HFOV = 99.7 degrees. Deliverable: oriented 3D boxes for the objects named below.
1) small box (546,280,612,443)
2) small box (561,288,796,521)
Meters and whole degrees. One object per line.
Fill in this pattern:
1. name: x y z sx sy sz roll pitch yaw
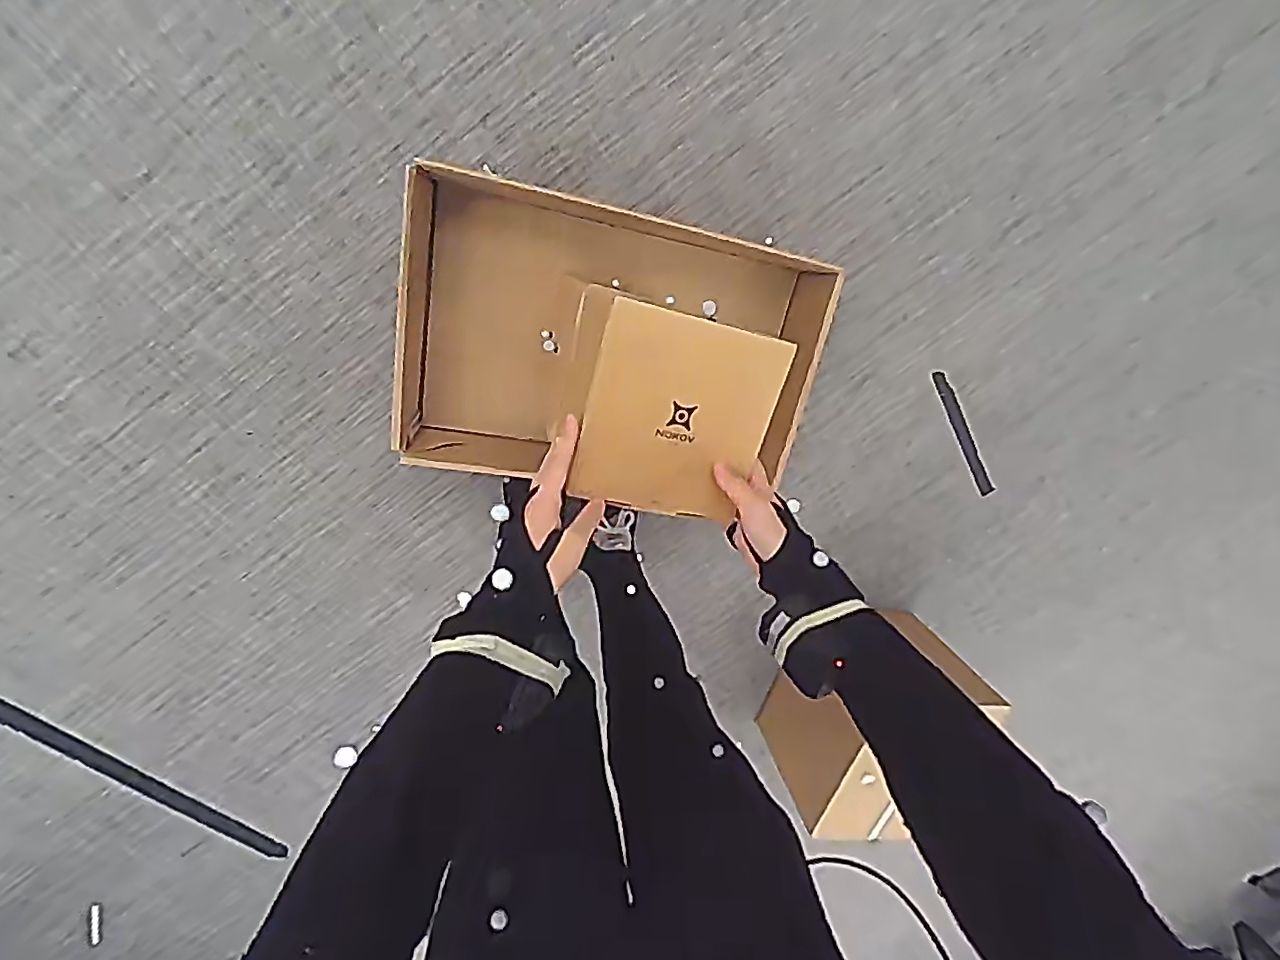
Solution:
1. small box: -0.021 -0.141 0.687 0.168 0.176 0.179 10 111 -18
2. small box: 0.020 -0.083 0.540 0.168 0.176 0.179 10 111 -16
